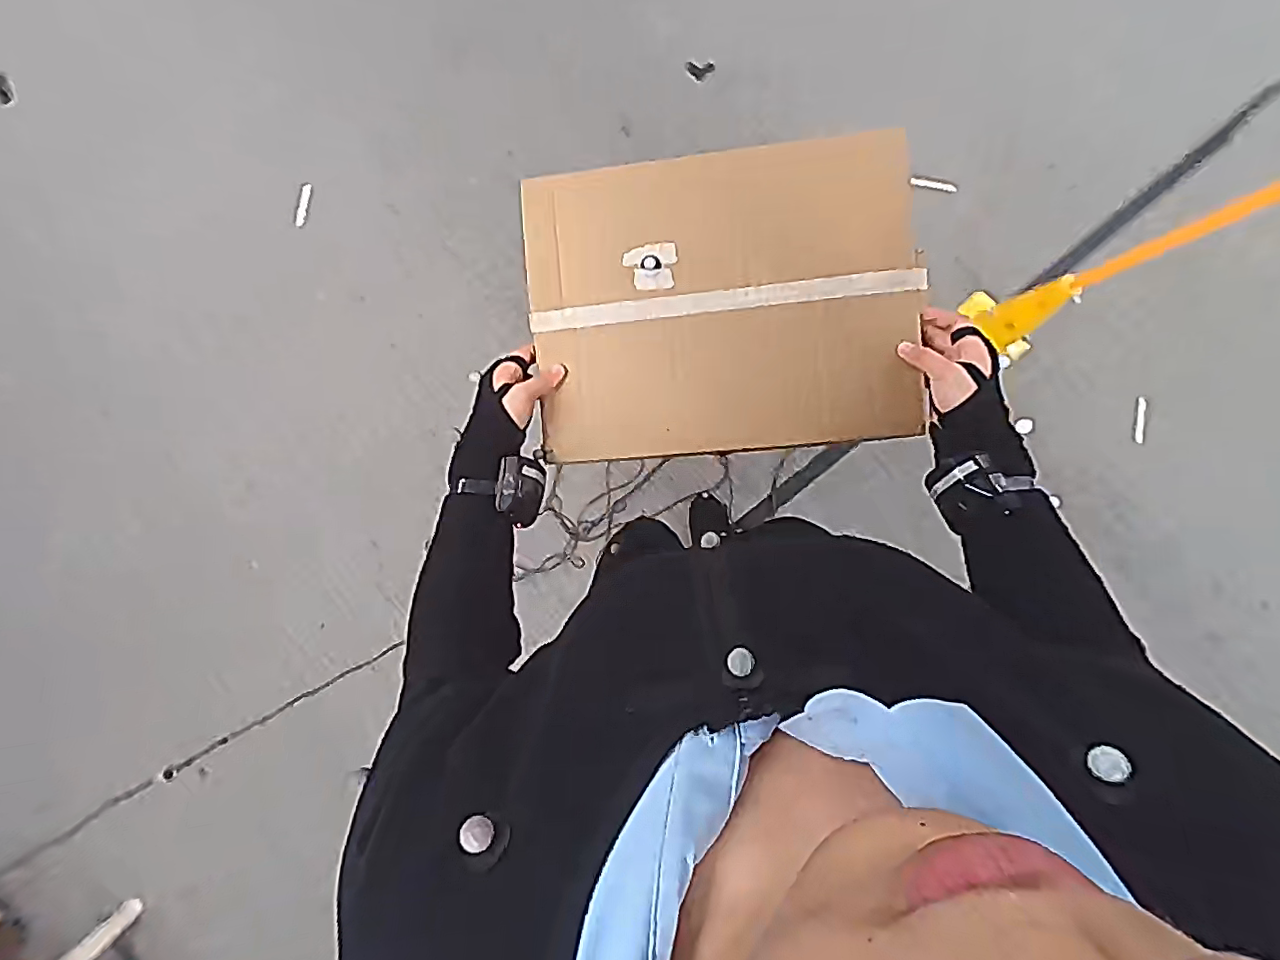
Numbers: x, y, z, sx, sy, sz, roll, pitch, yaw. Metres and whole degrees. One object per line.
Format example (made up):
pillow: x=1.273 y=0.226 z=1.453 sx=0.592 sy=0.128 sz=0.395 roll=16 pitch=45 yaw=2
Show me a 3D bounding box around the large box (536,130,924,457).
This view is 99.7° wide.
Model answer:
large box: x=0.110 y=-0.199 z=0.728 sx=0.408 sy=0.320 sz=0.320 roll=-3 pitch=91 yaw=8
